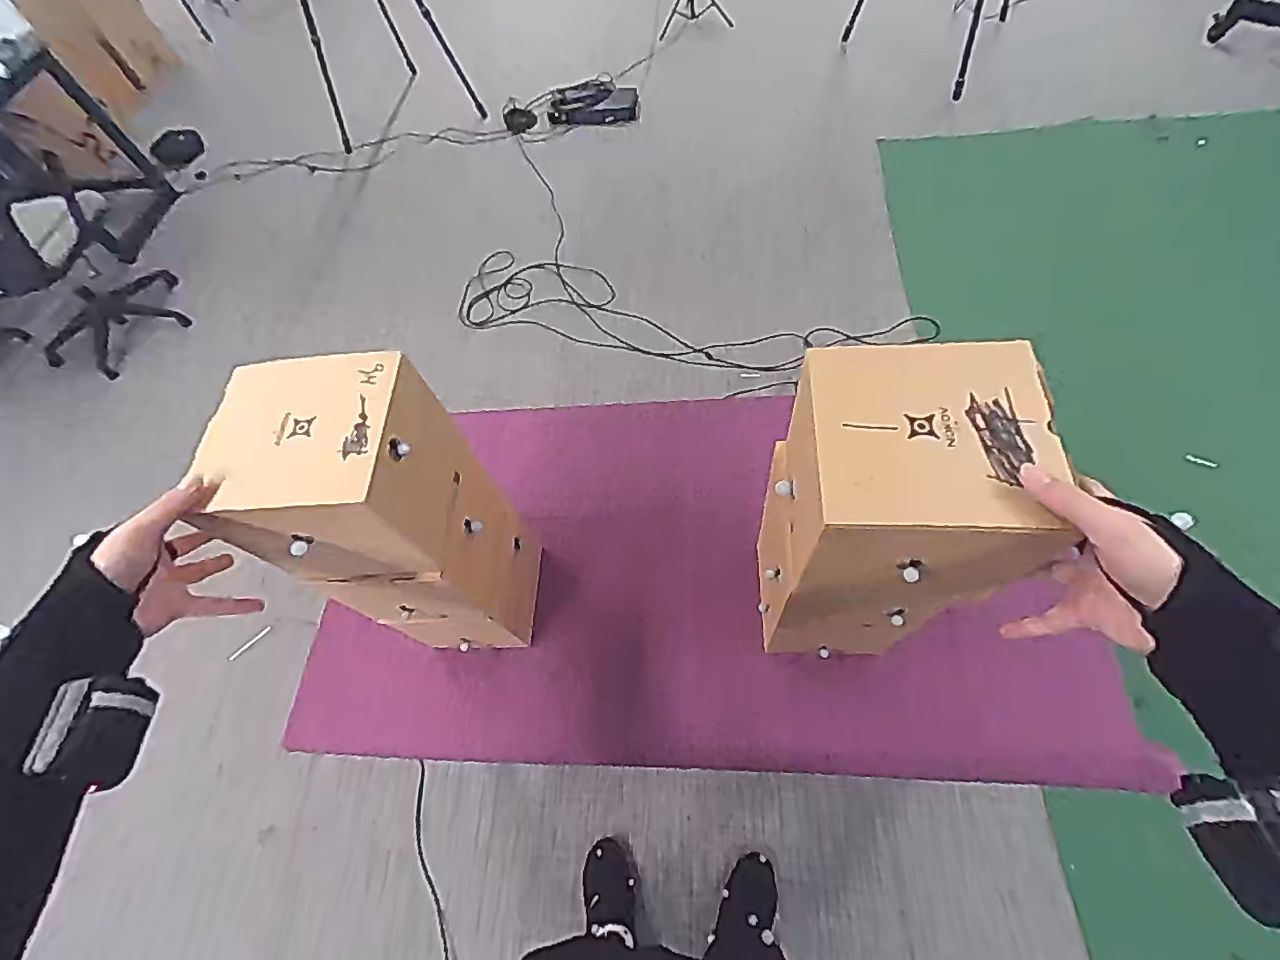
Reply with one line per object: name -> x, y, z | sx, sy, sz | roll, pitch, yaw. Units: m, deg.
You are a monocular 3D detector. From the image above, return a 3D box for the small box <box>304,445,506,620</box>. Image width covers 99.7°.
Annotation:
small box -> -0.284, 0.073, 0.702 | 0.168, 0.176, 0.179 | -3, 61, 6

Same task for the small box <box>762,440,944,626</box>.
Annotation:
small box -> 0.235, 0.067, 0.627 | 0.168, 0.176, 0.179 | -2, 61, 7

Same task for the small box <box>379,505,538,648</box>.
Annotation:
small box -> -0.266, 0.154, 0.842 | 0.168, 0.176, 0.179 | -2, 61, 7

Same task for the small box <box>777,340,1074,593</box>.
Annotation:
small box -> 0.222, -0.003, 0.479 | 0.179, 0.176, 0.168 | 0, 61, 9

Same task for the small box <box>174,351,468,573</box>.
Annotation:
small box -> -0.304, -0.009, 0.561 | 0.179, 0.176, 0.168 | -4, 60, 6
